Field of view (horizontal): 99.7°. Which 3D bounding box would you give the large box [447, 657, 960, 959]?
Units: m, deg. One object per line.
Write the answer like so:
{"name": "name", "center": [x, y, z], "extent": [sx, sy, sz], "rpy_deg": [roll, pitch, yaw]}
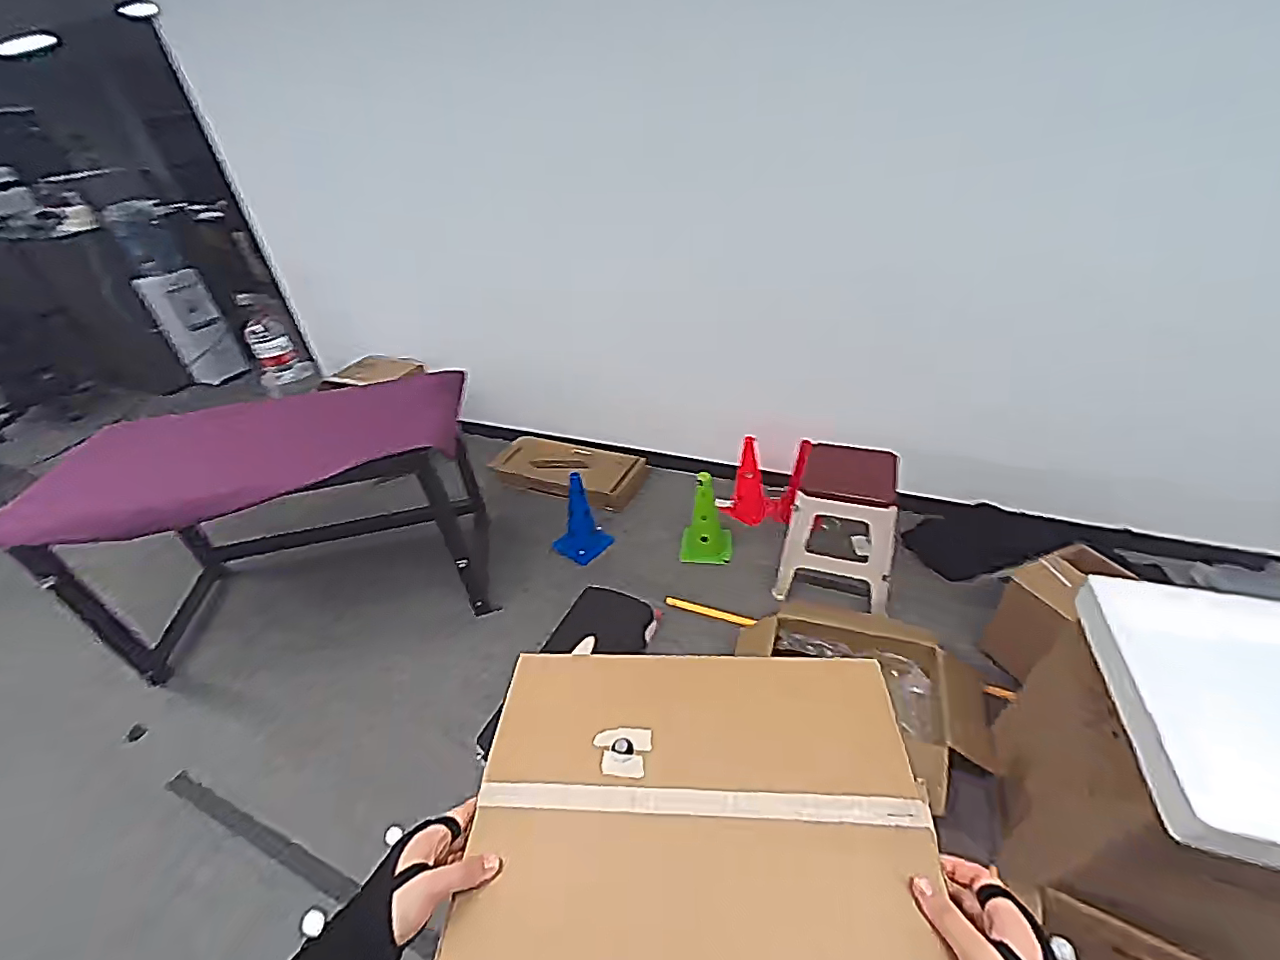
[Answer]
{"name": "large box", "center": [0.067, 0.420, 0.592], "extent": [0.408, 0.320, 0.320], "rpy_deg": [-4, 37, 8]}
